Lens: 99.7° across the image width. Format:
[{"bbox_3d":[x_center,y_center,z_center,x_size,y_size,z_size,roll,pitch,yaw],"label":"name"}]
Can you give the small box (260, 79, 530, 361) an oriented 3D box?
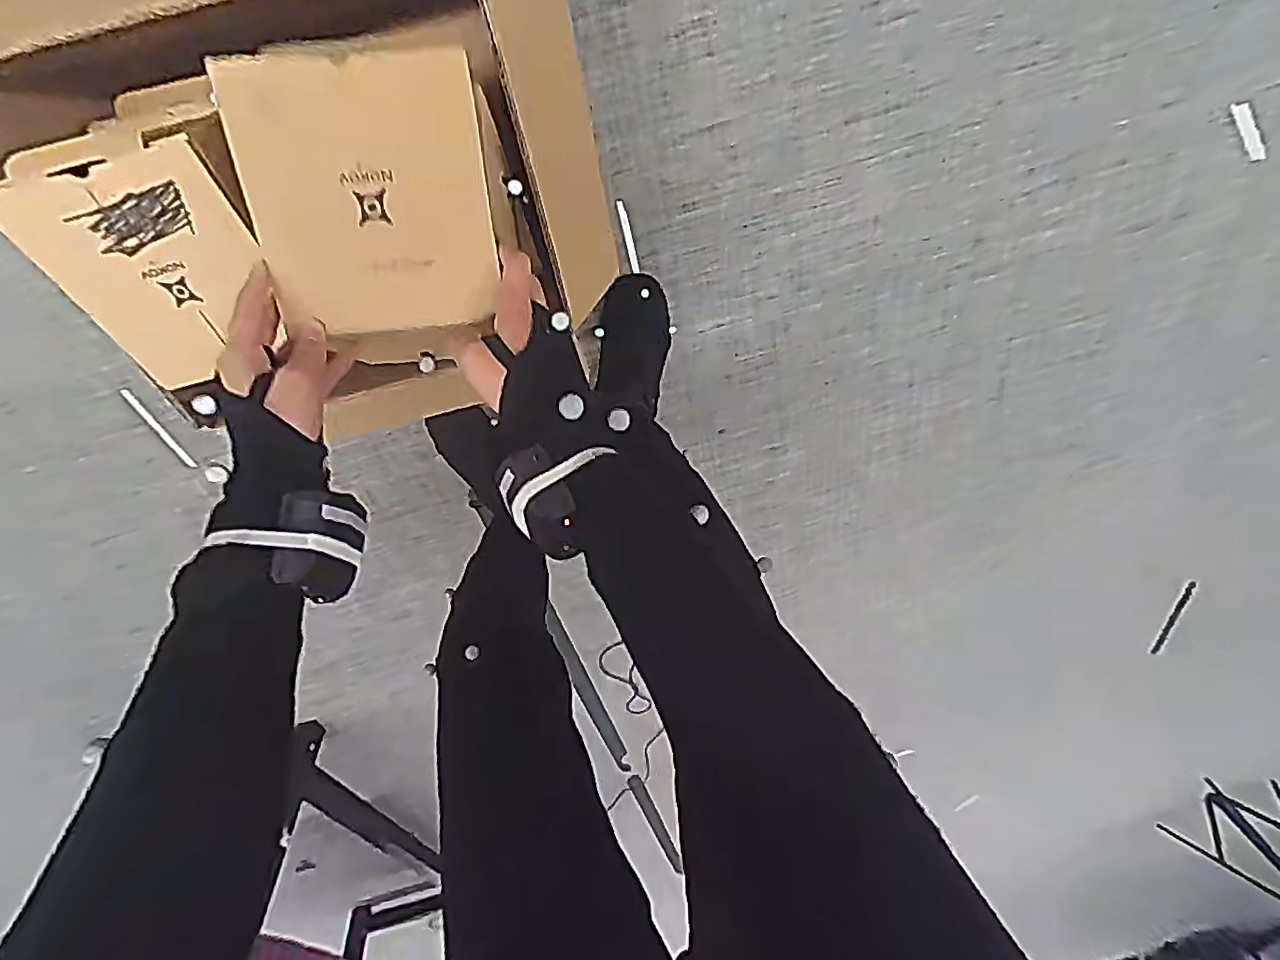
[{"bbox_3d":[-0.196,-0.212,0.482,0.168,0.176,0.179,-5,94,-4],"label":"small box"}]
